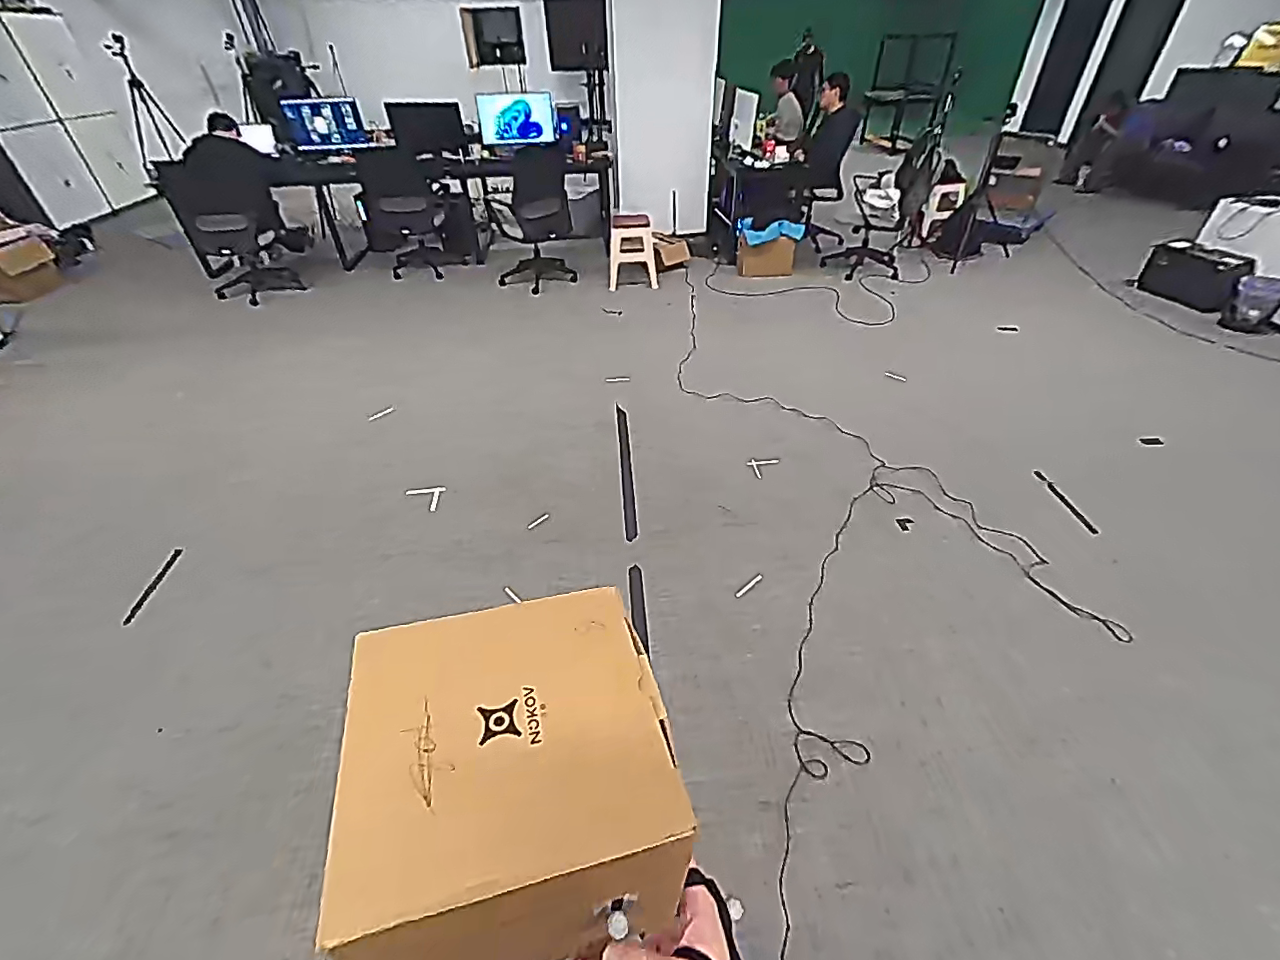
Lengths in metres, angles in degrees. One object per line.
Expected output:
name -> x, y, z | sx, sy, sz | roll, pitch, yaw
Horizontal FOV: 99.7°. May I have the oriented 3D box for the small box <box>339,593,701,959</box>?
small box -> -0.076, 0.207, 0.368 | 0.179, 0.176, 0.168 | -9, 39, -14
